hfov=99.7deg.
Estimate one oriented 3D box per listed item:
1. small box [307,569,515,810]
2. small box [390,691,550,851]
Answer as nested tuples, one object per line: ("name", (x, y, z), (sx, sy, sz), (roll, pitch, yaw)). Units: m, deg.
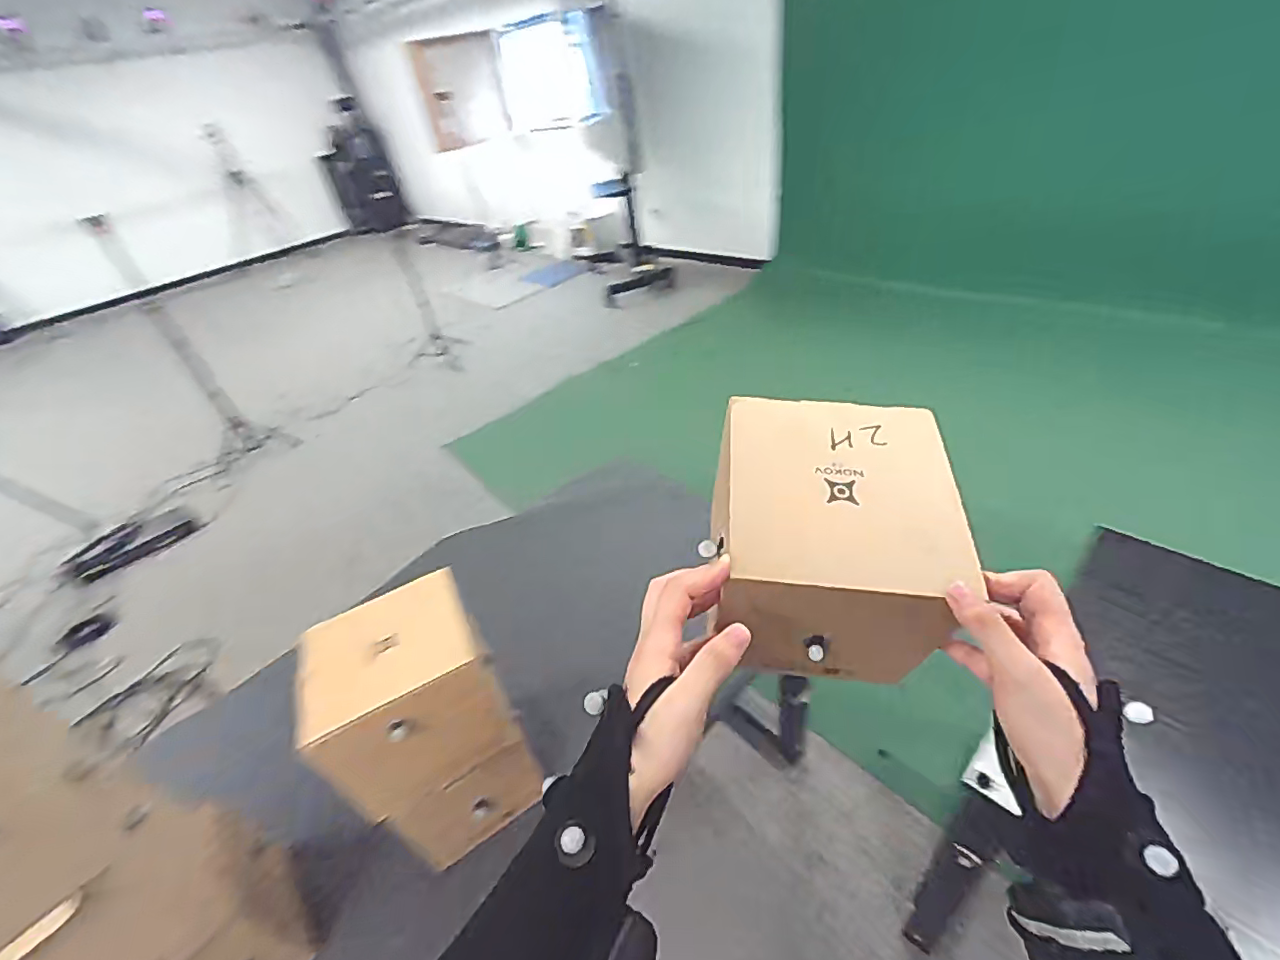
("small box", (-0.264, 0.246, 0.647), (0.179, 0.176, 0.168), (-25, 38, -16))
("small box", (-0.245, 0.372, 0.749), (0.168, 0.176, 0.179), (-28, 40, -20))
